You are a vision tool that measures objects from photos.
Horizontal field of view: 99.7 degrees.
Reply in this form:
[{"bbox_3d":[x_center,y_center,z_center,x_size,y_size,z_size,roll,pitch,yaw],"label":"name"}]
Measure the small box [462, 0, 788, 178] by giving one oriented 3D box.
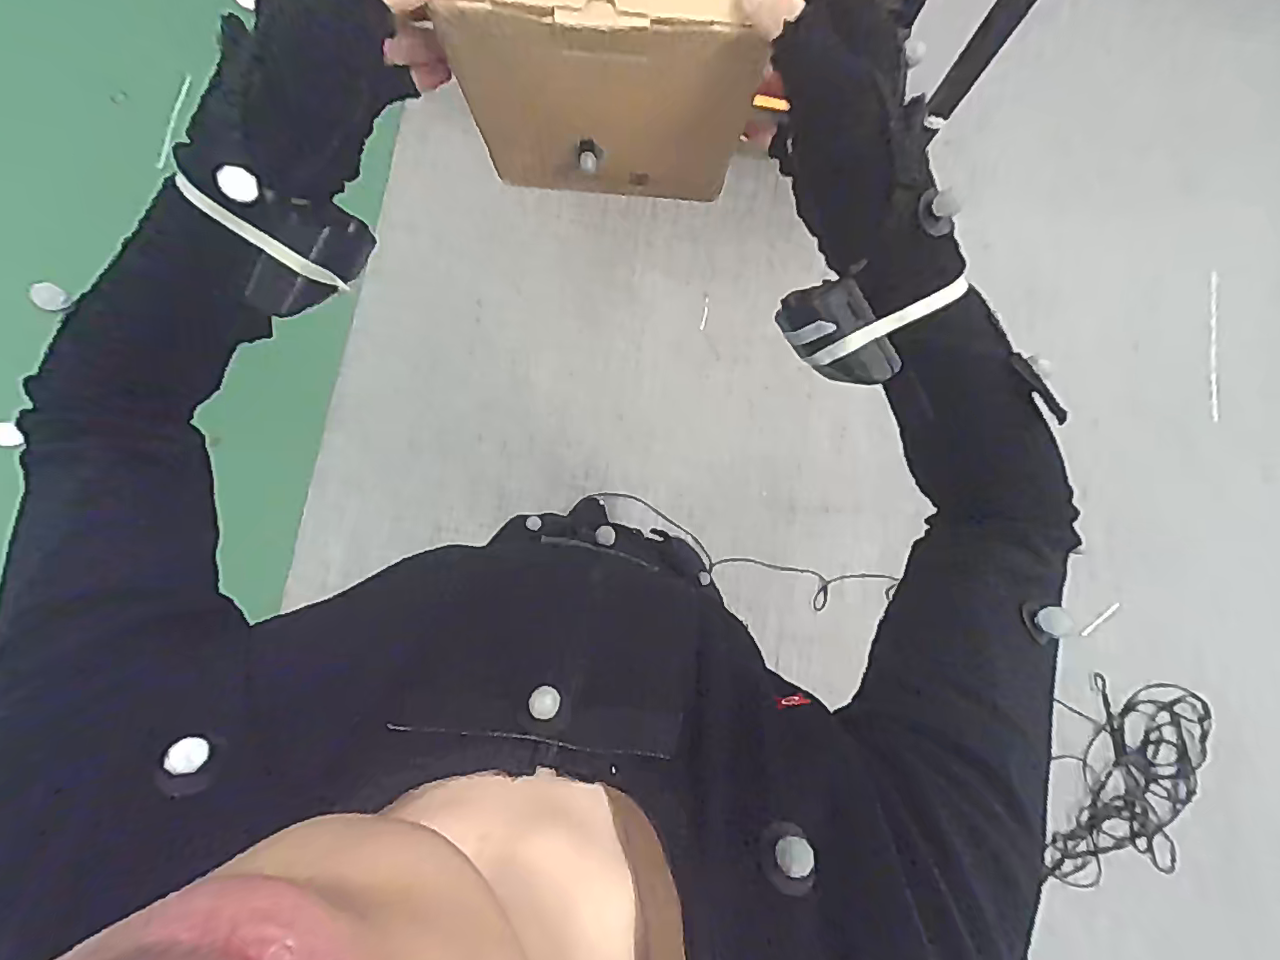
[{"bbox_3d":[-0.010,-0.314,0.318,0.168,0.176,0.179,3,93,-2],"label":"small box"}]
